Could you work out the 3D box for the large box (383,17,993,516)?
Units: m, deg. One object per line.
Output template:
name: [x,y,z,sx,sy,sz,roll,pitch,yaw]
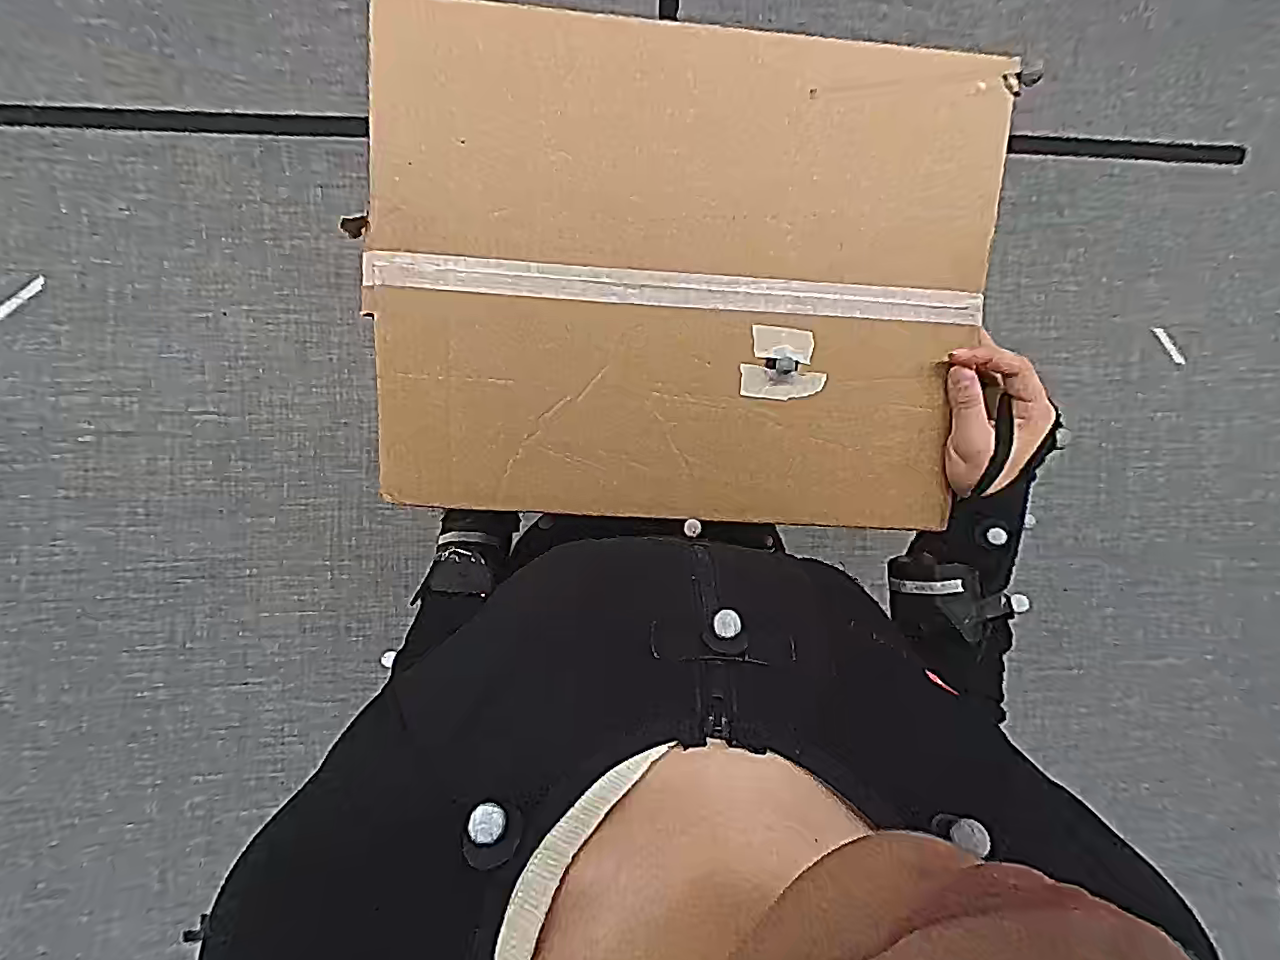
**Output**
large box: [0.022,-0.152,0.515,0.408,0.320,0.320,2,100,-5]
